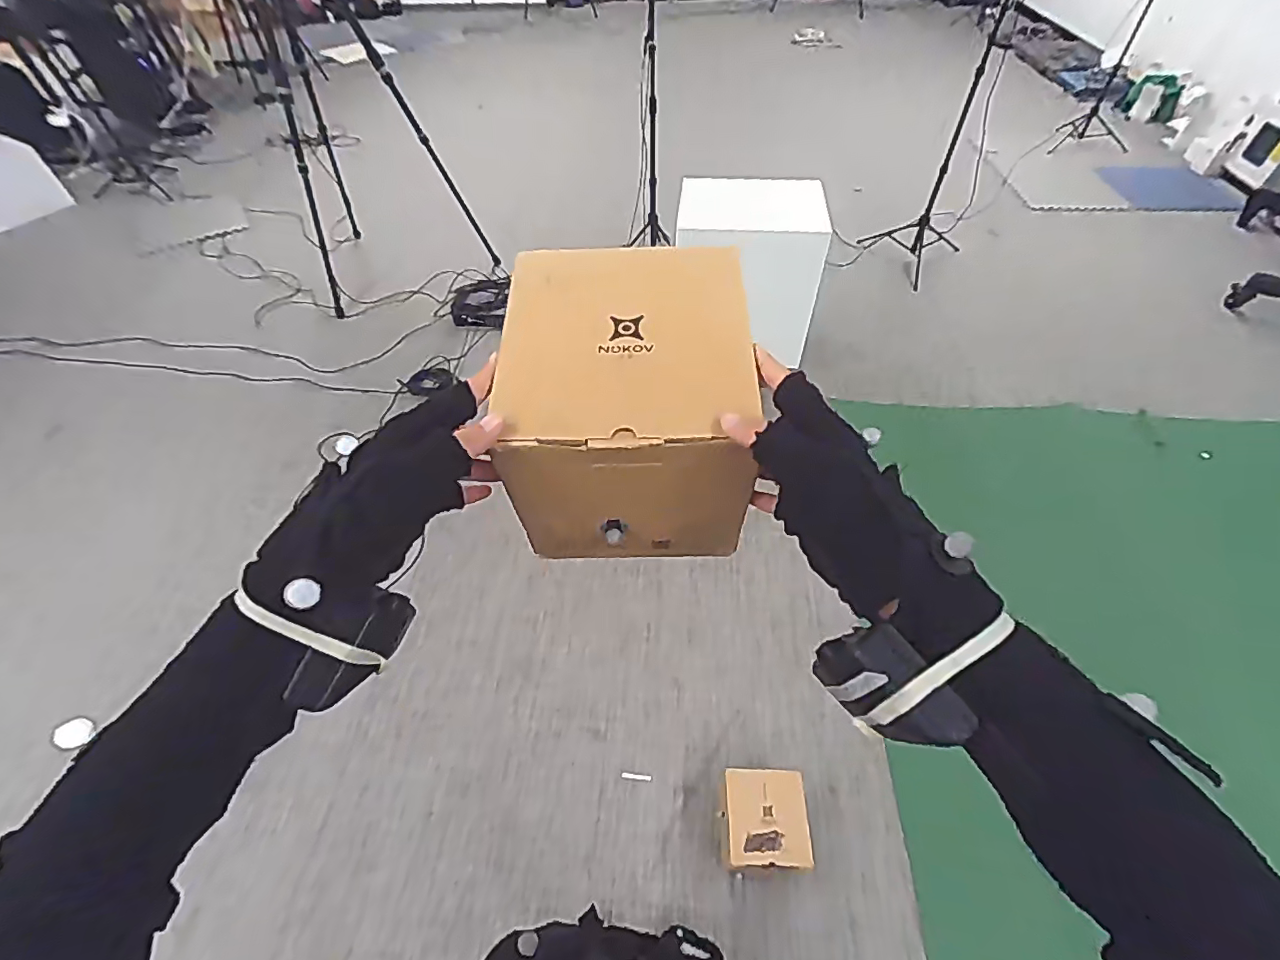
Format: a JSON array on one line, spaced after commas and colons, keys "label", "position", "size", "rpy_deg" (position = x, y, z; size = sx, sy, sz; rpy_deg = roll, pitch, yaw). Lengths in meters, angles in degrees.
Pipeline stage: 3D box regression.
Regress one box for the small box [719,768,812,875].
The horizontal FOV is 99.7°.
[{"label": "small box", "position": [0.263, 0.741, 1.170], "size": [0.168, 0.176, 0.179], "rpy_deg": [1, 51, 2]}]
